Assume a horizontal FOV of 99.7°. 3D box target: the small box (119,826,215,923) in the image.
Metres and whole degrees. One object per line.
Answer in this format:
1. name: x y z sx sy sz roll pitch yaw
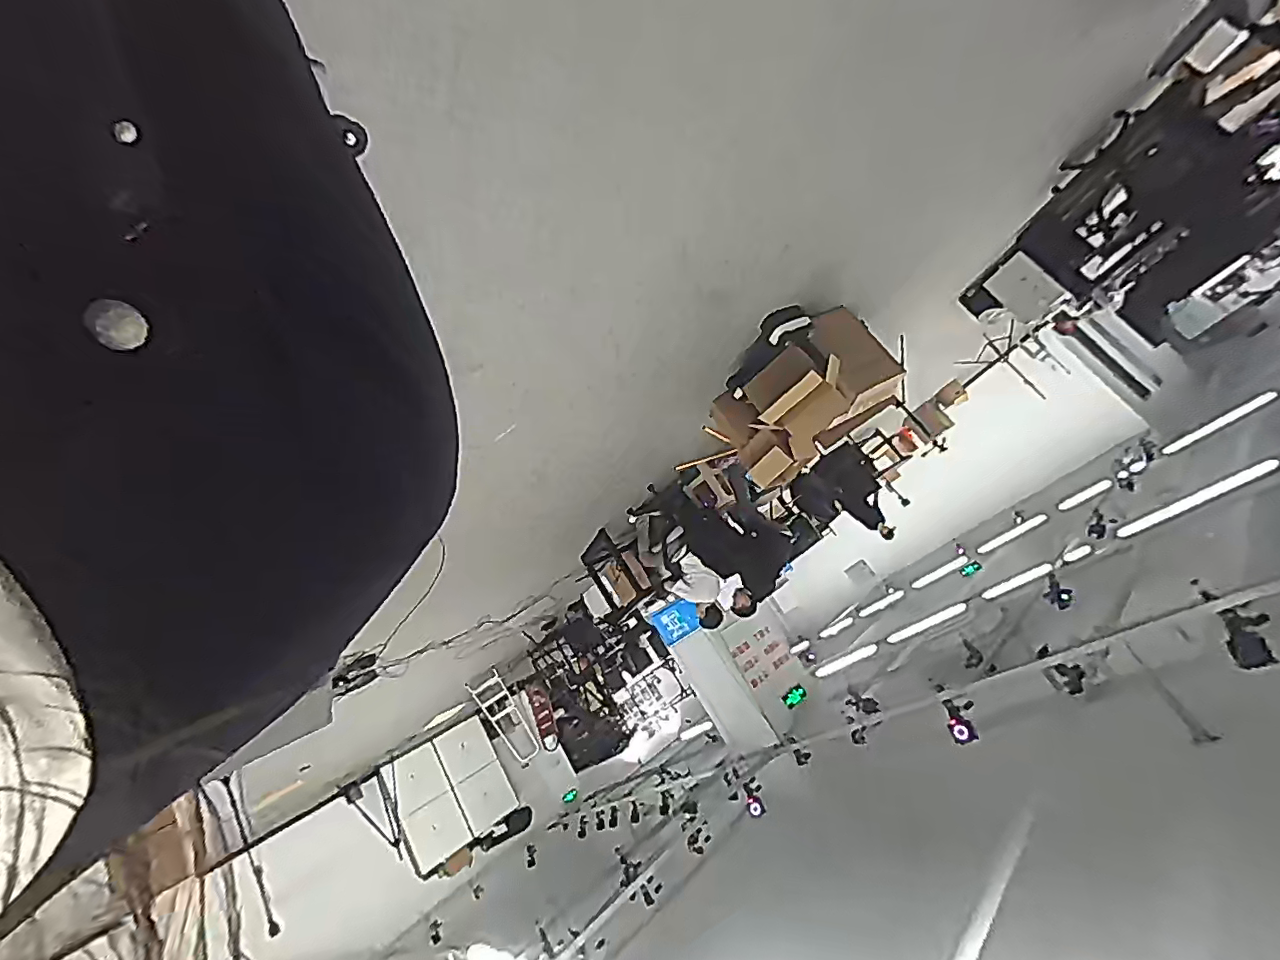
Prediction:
1. small box: -1.394 1.158 1.596 0.168 0.176 0.179 -21 157 -38

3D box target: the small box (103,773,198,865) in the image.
1. small box: -1.486 1.032 1.641 0.179 0.176 0.168 -21 158 -39
